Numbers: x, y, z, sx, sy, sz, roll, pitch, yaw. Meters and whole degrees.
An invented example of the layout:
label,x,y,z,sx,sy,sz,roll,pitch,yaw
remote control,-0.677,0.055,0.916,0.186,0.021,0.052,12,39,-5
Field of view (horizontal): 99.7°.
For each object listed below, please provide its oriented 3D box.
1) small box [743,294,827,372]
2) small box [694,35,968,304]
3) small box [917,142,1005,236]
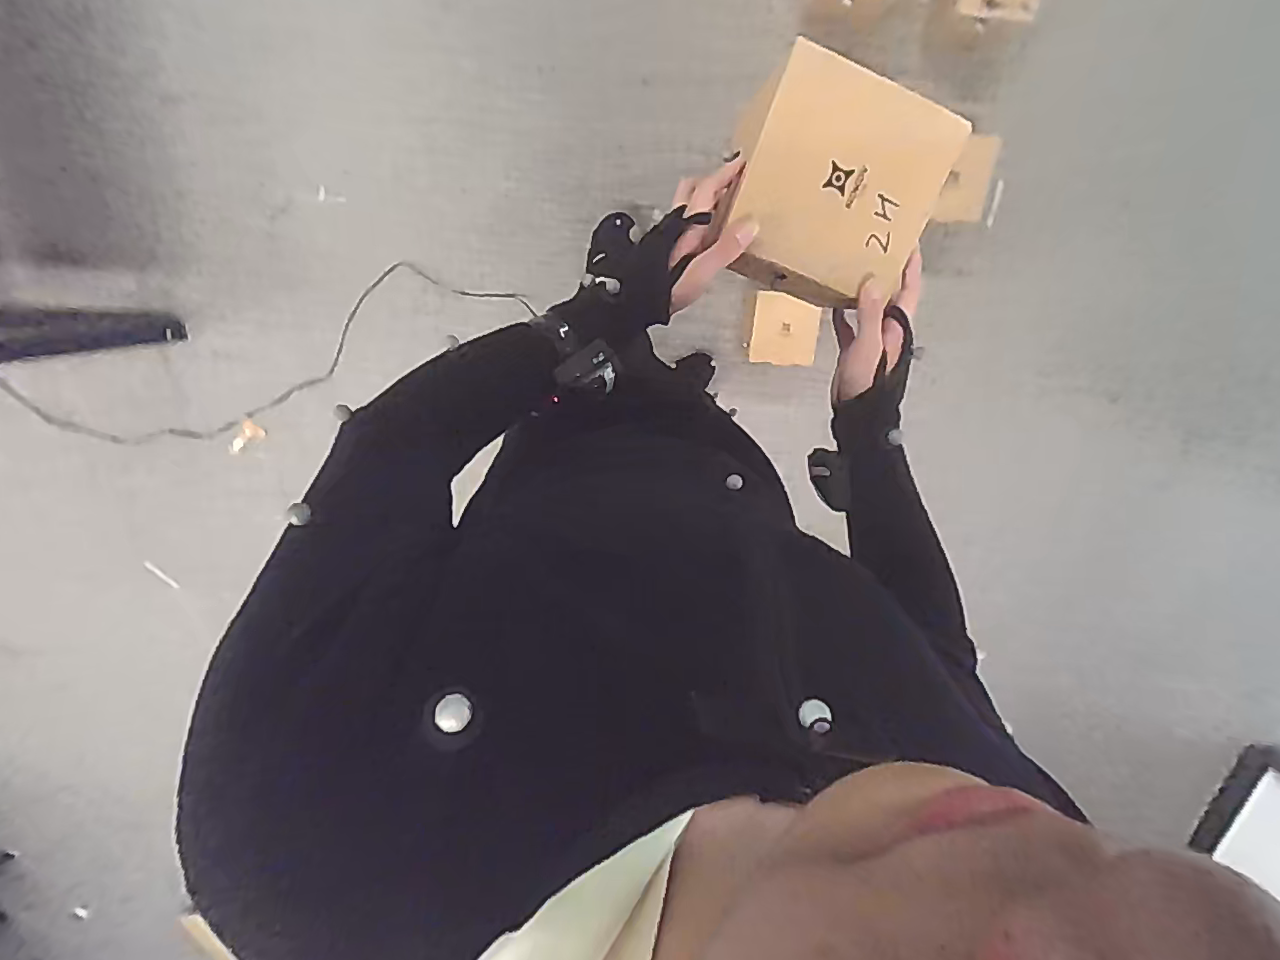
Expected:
label,x,y,z,sx,sy,sz,roll,pitch,yaw
small box,0.370,-0.389,1.416,0.168,0.176,0.179,4,111,0
small box,0.168,-0.286,0.546,0.179,0.176,0.168,18,107,-10
small box,0.718,-0.689,1.293,0.168,0.176,0.179,5,110,-1
